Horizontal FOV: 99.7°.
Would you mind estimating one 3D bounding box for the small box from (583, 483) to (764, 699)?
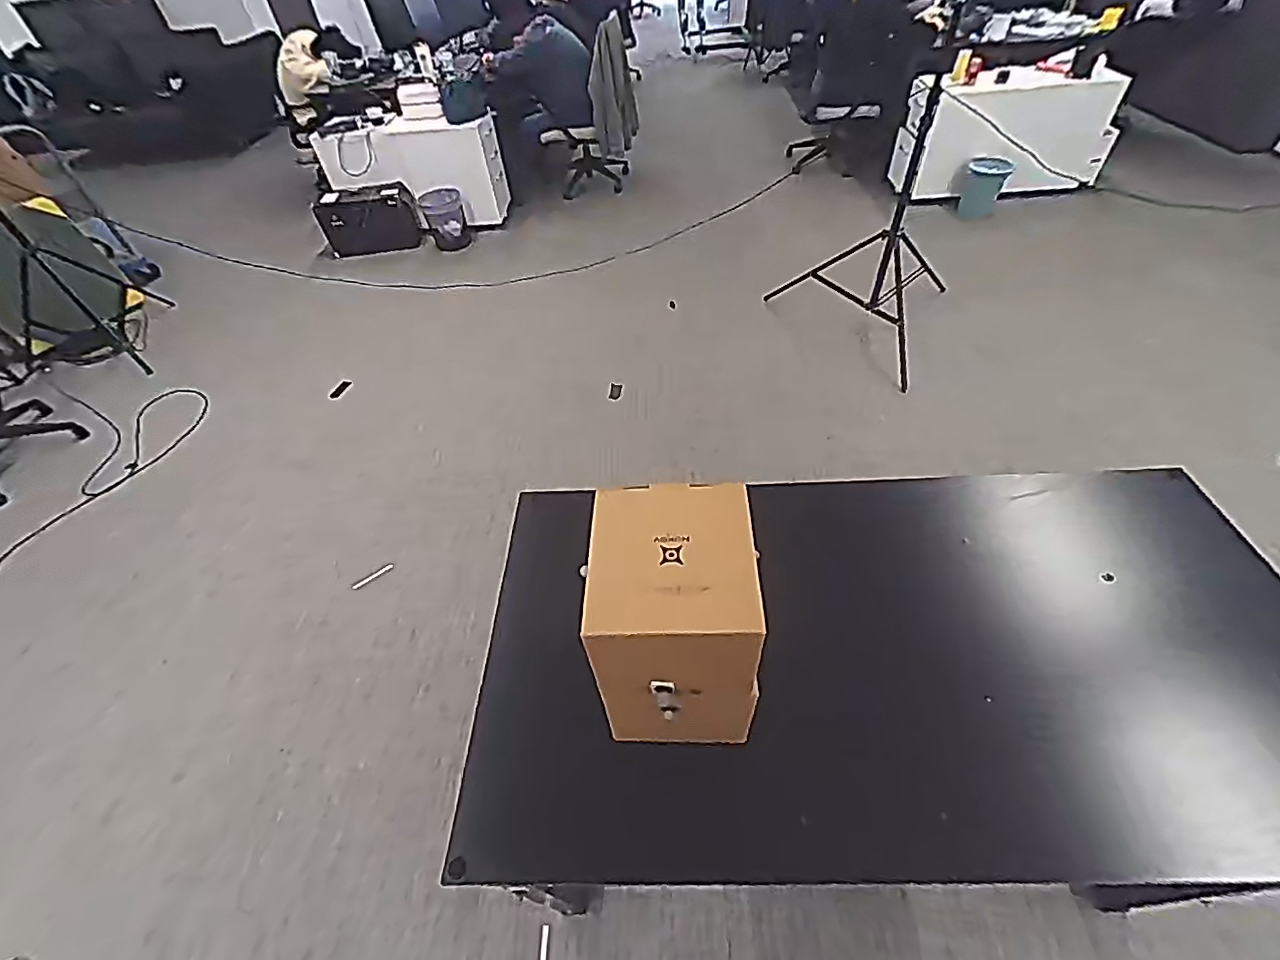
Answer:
[{"bbox_3d":[0.037,0.123,0.597,0.168,0.176,0.179,-3,49,4],"label":"small box"}]

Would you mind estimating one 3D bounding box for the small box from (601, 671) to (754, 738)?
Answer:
[{"bbox_3d":[0.050,0.231,0.718,0.179,0.176,0.168,-1,48,3],"label":"small box"}]
